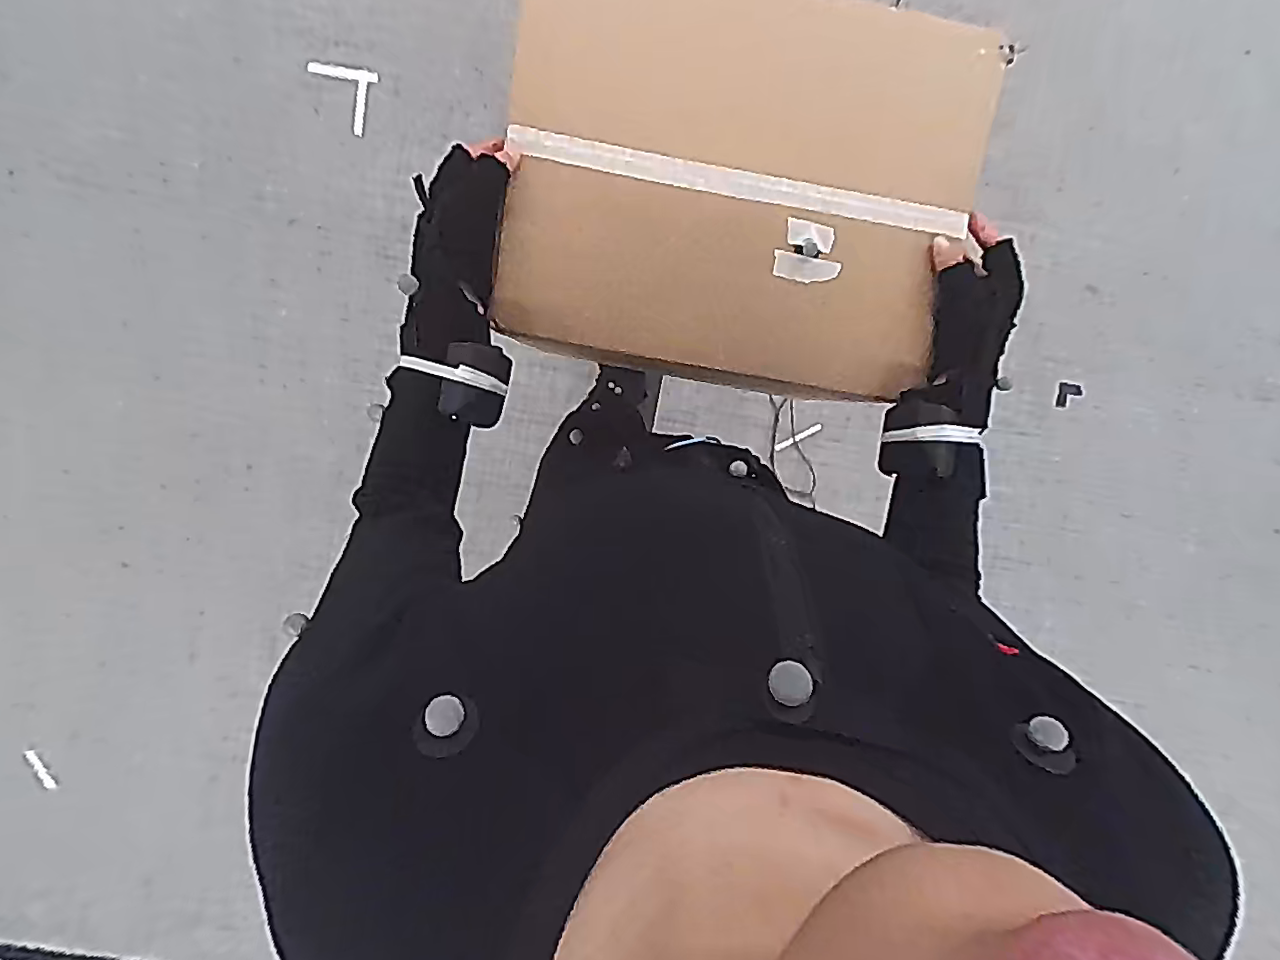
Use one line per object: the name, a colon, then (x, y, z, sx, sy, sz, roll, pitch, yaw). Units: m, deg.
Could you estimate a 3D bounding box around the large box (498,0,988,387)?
large box: (0.080, -0.292, 0.629, 0.408, 0.320, 0.320, 10, 100, -4)
